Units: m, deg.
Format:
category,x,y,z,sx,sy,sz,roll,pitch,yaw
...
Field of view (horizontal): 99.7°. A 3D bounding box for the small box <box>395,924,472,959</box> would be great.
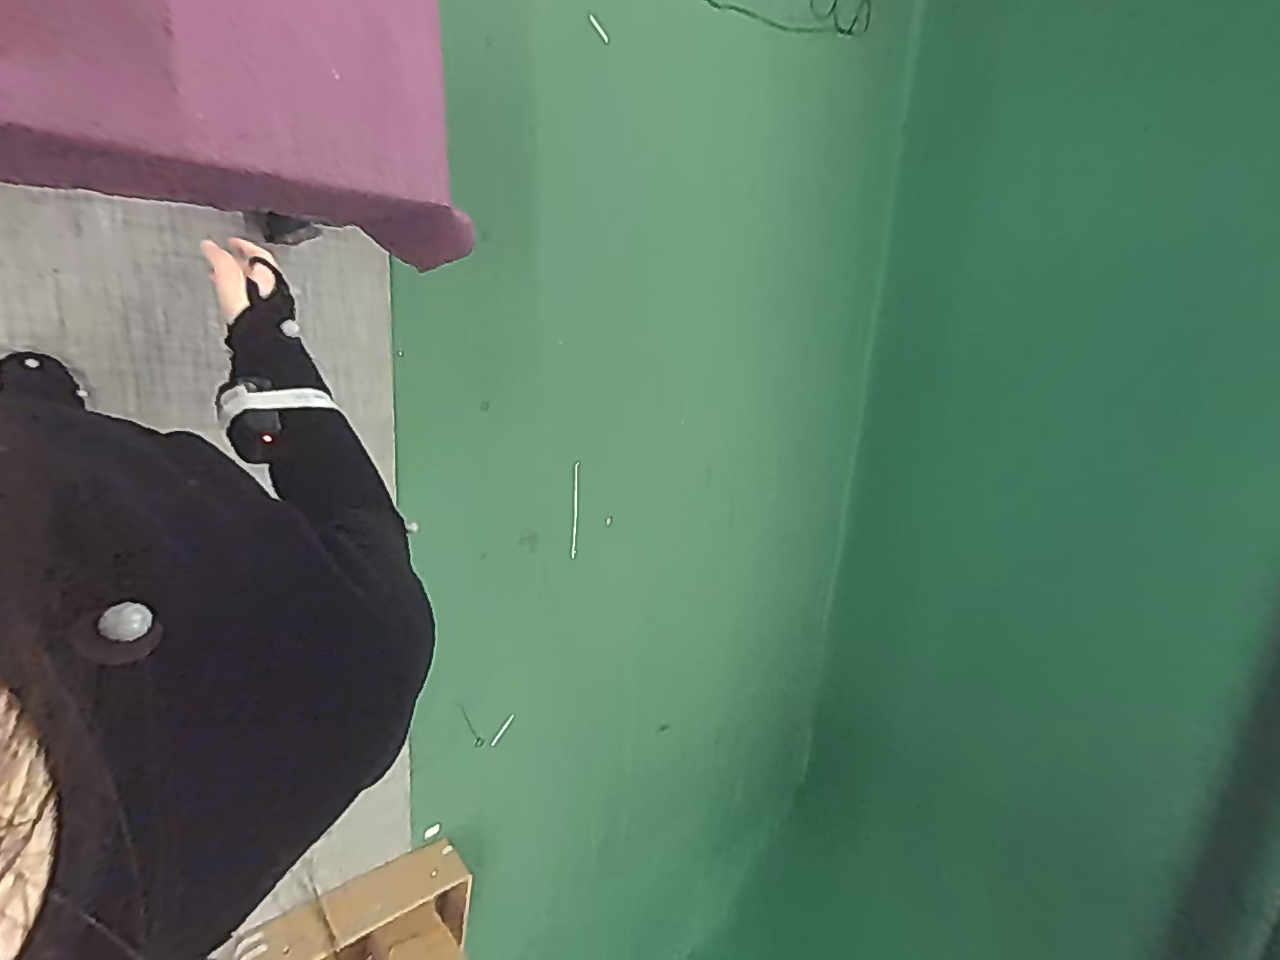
category,x,y,z,sx,sy,sz,roll,pitch,yaw
small box,-0.612,1.461,1.582,0.179,0.176,0.168,17,89,-44
